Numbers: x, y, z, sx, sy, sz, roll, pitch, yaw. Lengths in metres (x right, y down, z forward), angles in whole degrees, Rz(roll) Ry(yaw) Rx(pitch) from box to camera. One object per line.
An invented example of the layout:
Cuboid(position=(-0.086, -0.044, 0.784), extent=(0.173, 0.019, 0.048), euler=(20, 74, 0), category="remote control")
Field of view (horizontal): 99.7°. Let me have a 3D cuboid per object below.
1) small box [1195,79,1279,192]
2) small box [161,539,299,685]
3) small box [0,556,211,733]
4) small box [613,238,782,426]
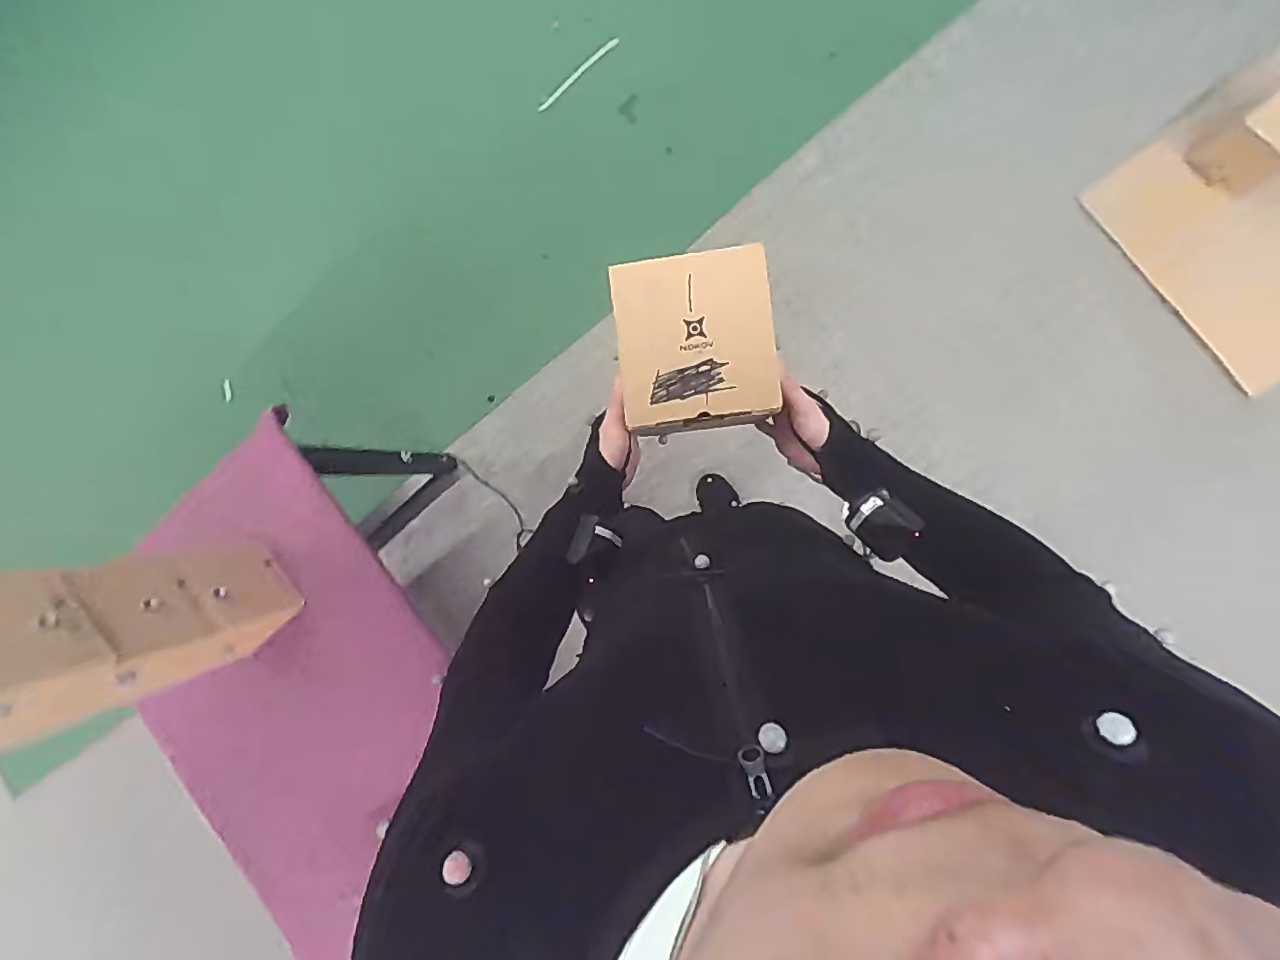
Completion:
Cuboid(position=(1.511, -0.839, 1.286), extent=(0.179, 0.176, 0.168), euler=(-43, 84, 8), category="small box")
Cuboid(position=(-0.780, 0.231, 0.987), extent=(0.179, 0.176, 0.168), euler=(-40, 86, 10), category="small box")
Cuboid(position=(-0.811, 0.237, 0.825), extent=(0.179, 0.176, 0.168), euler=(-38, 84, 10), category="small box")
Cuboid(position=(0.067, -0.156, 0.636), extent=(0.168, 0.176, 0.179), euler=(-5, 91, 5), category="small box")
